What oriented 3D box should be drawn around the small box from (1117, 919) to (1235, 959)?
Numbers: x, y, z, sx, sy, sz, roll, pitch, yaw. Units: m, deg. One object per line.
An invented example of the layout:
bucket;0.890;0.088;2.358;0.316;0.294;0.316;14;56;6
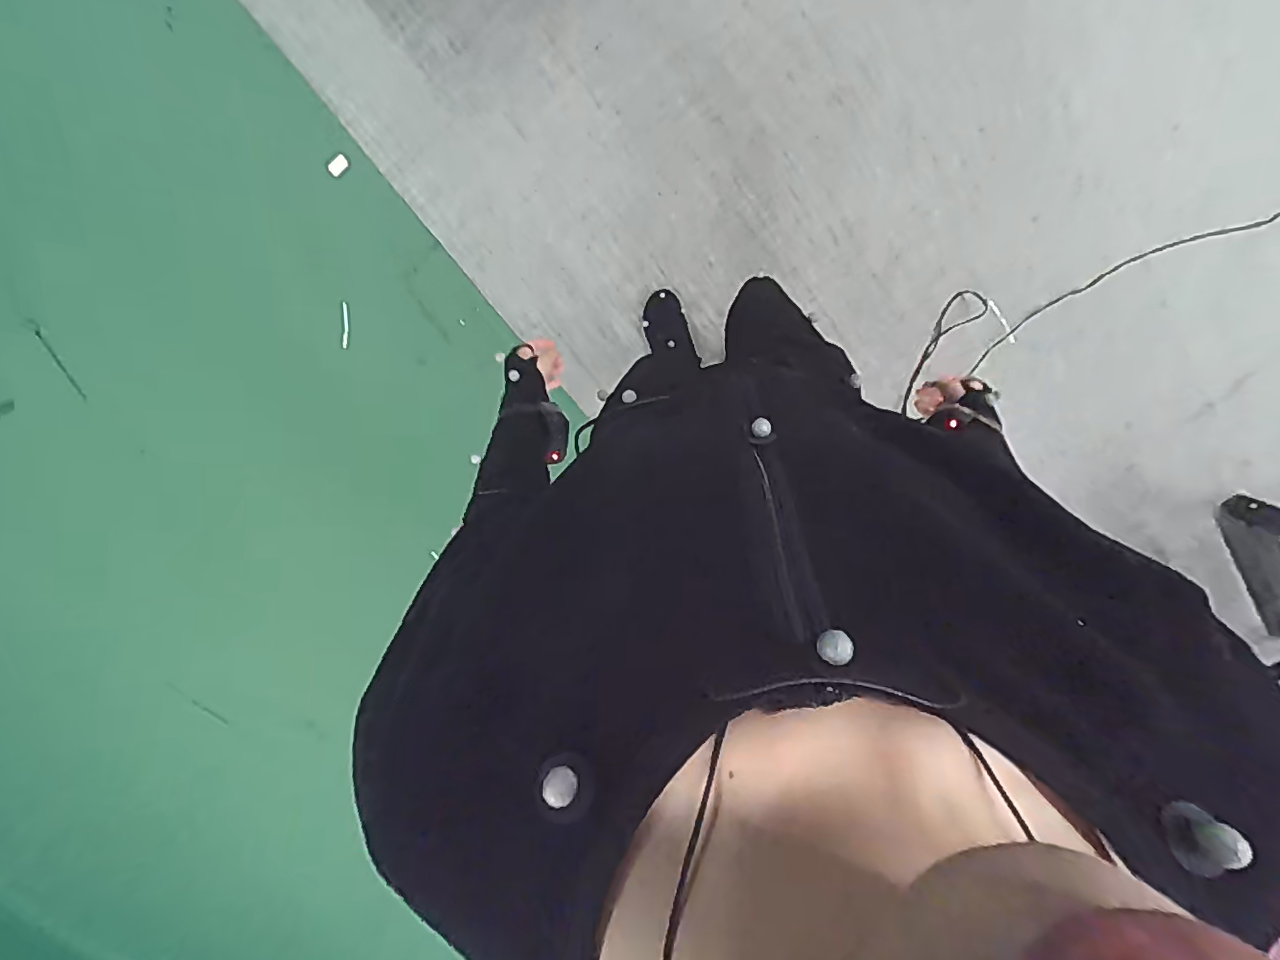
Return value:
small box;1.002;0.937;0.955;0.179;0.176;0.168;-37;105;13
